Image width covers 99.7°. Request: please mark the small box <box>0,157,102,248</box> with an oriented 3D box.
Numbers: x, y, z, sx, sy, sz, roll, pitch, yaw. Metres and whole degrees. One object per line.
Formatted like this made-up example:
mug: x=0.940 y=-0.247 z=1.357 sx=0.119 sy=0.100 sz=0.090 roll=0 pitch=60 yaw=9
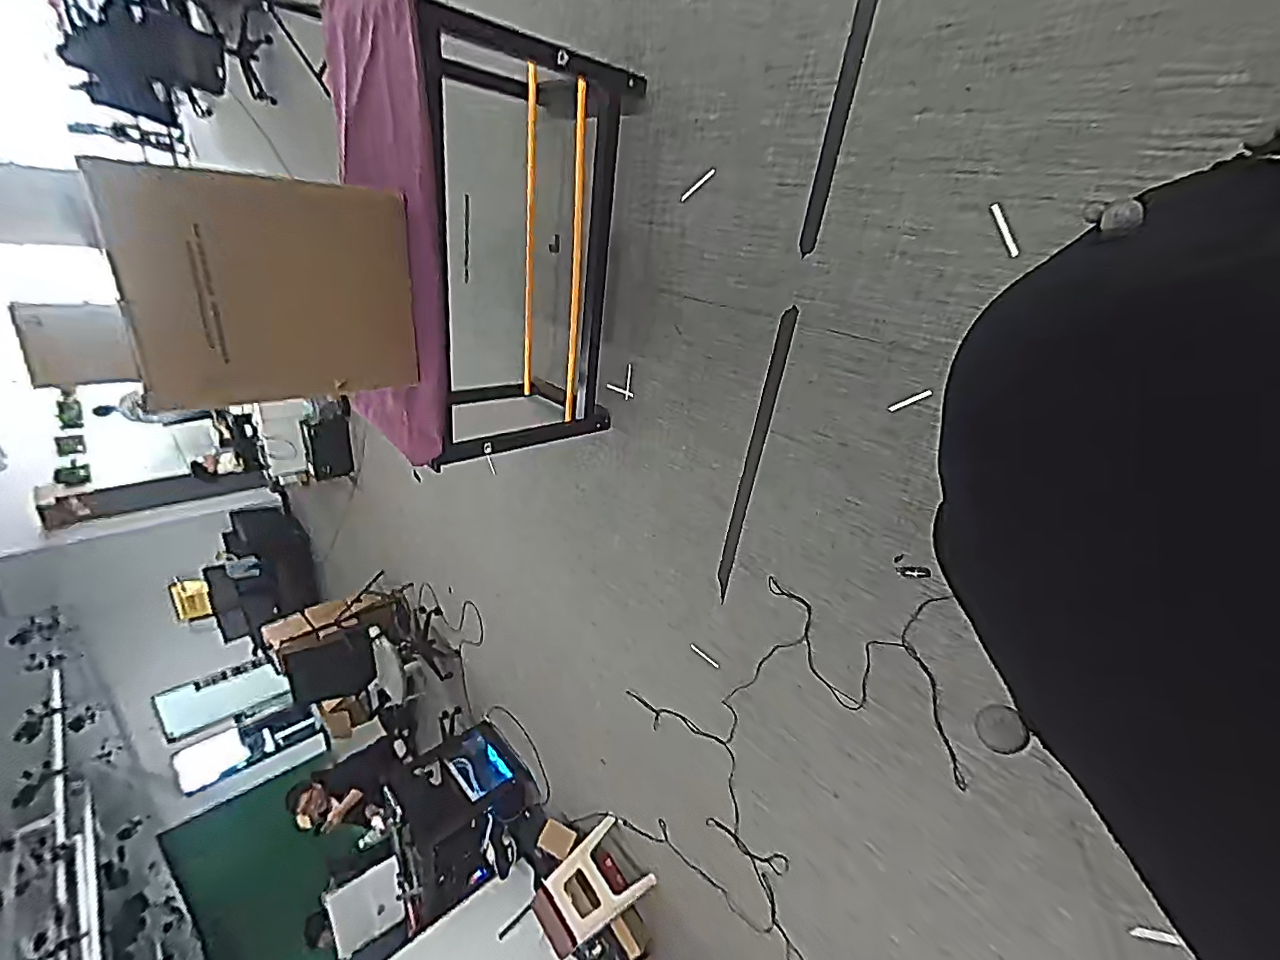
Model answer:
small box: x=-1.335 y=-0.615 z=1.200 sx=0.179 sy=0.176 sz=0.168 roll=30 pitch=125 yaw=38
